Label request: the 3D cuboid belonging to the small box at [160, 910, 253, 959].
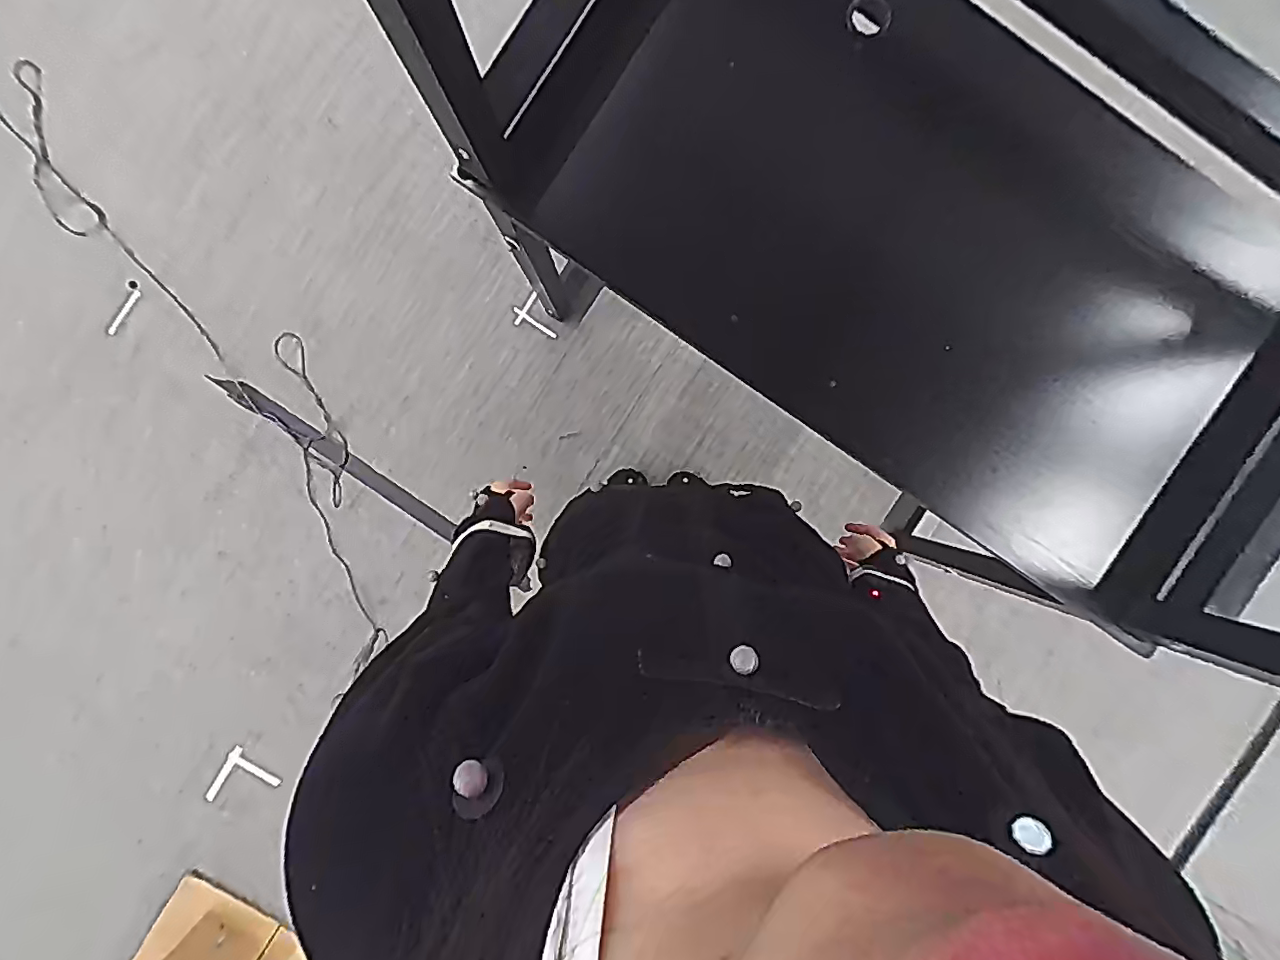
[{"bbox_3d":[-1.179,1.308,1.427,0.168,0.176,0.179,33,90,-4],"label":"small box"}]
